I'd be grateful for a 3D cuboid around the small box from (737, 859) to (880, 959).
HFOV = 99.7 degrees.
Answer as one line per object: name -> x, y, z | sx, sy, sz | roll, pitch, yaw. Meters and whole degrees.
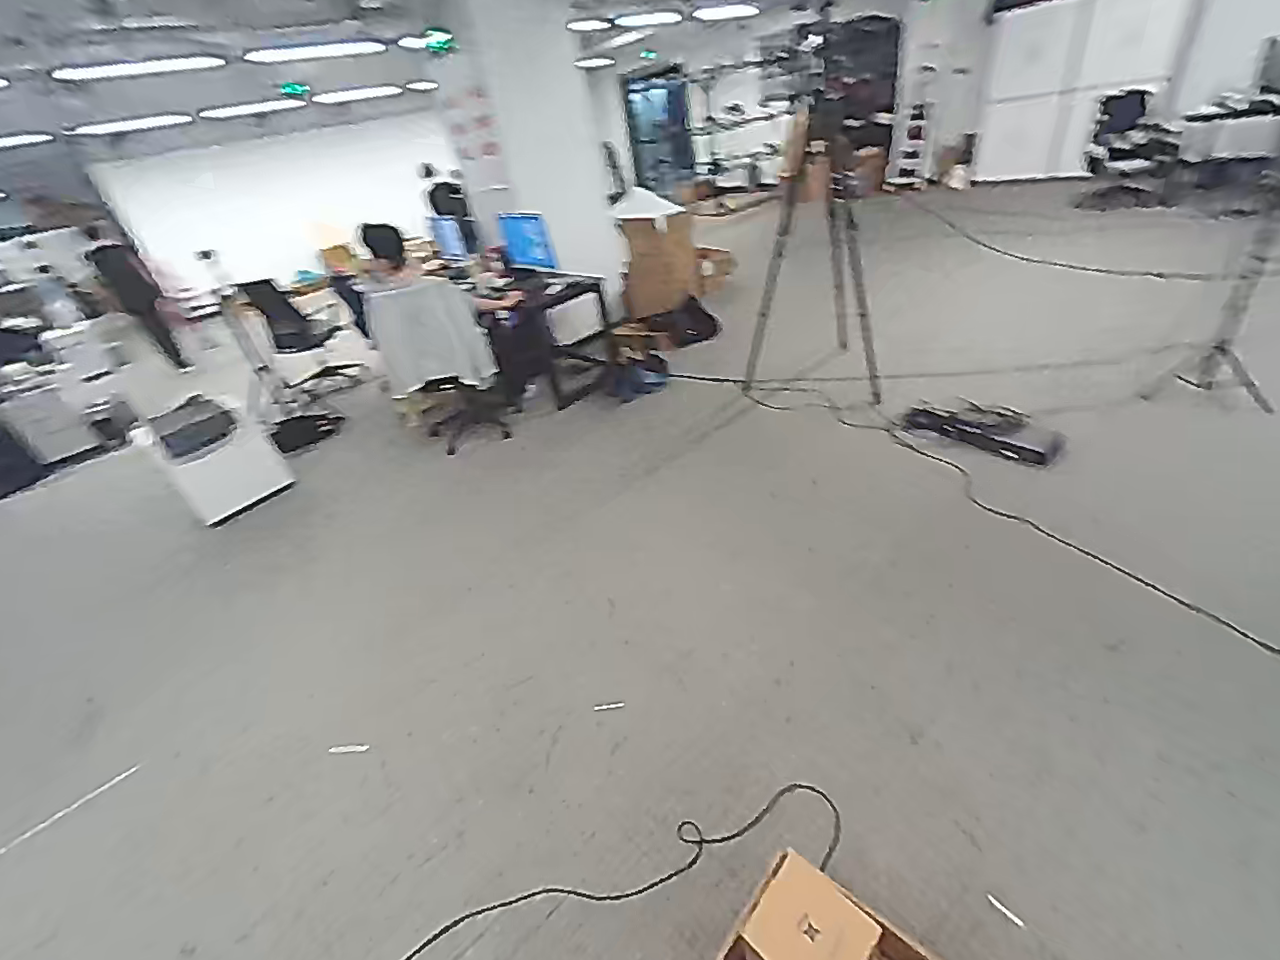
small box -> 0.292, 0.828, 0.946 | 0.168, 0.176, 0.179 | -36, 41, -29
